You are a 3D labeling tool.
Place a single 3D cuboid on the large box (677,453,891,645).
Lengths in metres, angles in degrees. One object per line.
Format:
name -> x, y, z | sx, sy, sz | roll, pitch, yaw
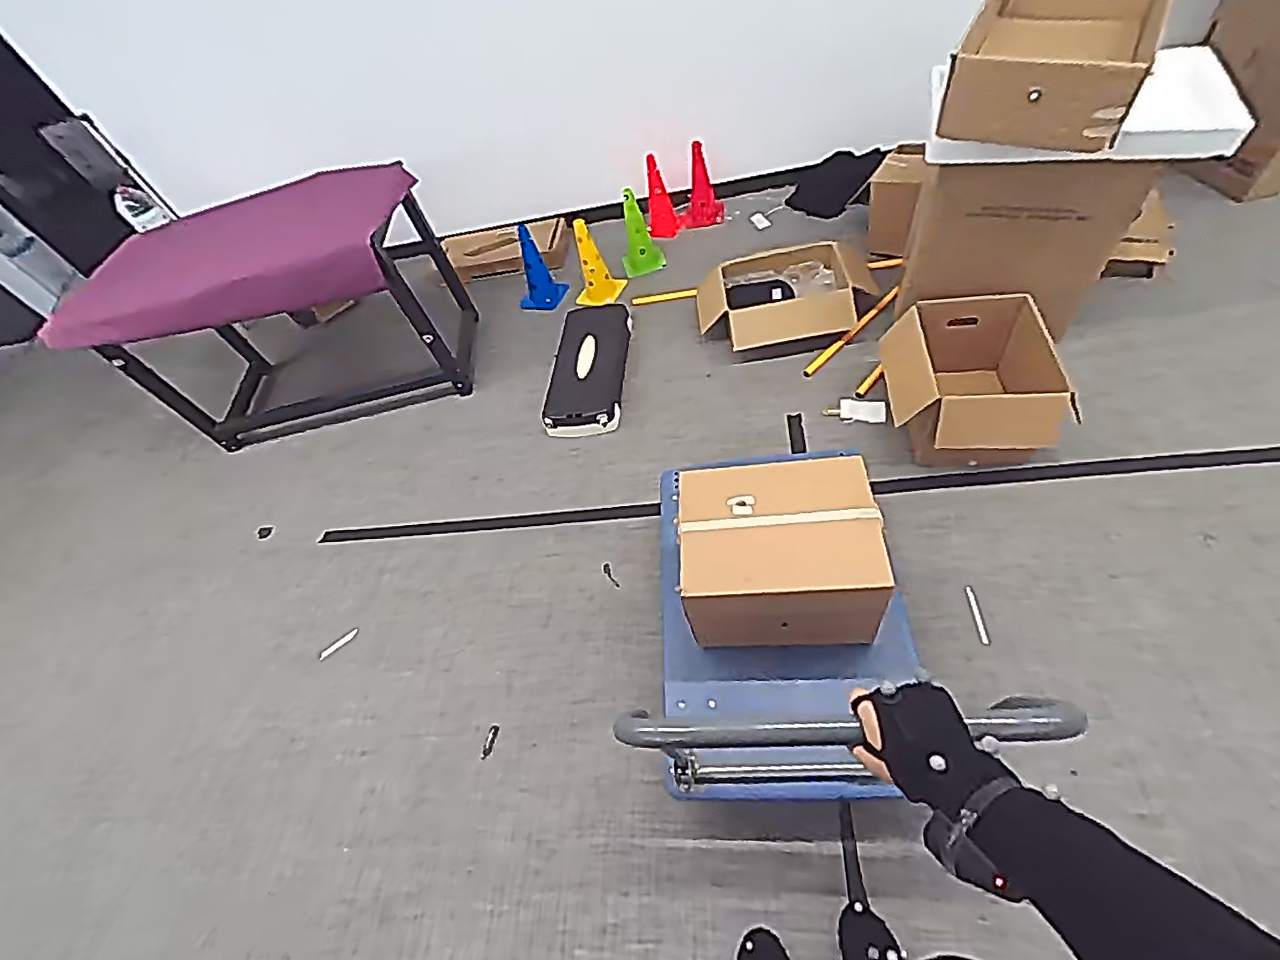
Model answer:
large box -> 0.310, 0.172, 1.238 | 0.408, 0.320, 0.320 | -6, 52, 12
